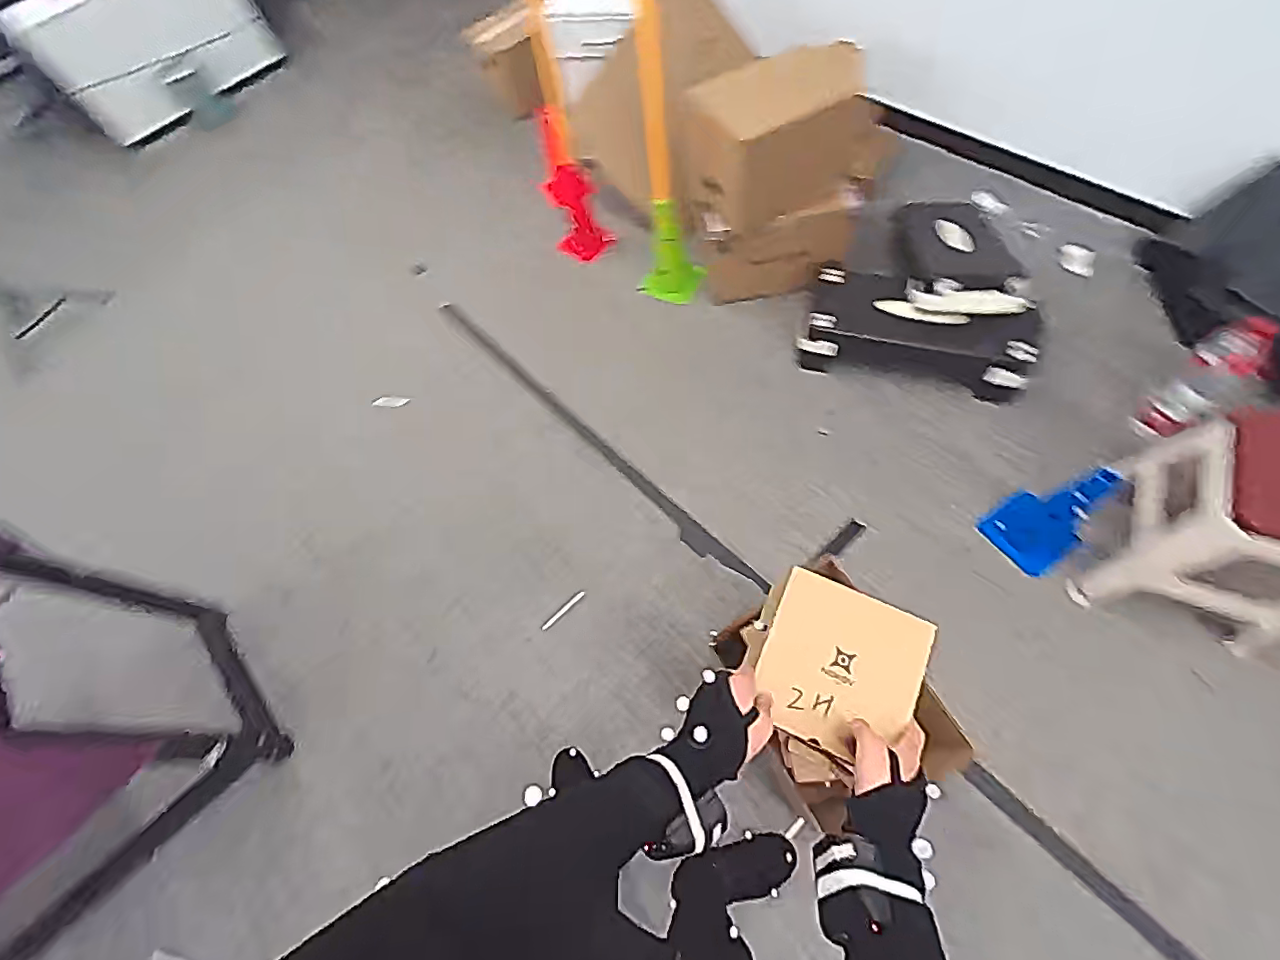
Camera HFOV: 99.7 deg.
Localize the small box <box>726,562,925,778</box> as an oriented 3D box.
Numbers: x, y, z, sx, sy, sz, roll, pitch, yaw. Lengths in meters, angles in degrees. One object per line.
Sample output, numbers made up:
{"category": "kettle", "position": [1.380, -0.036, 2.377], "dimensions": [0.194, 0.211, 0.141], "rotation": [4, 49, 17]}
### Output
{"category": "small box", "position": [0.211, 0.225, 0.661], "dimensions": [0.168, 0.176, 0.179], "rotation": [22, 73, 12]}
